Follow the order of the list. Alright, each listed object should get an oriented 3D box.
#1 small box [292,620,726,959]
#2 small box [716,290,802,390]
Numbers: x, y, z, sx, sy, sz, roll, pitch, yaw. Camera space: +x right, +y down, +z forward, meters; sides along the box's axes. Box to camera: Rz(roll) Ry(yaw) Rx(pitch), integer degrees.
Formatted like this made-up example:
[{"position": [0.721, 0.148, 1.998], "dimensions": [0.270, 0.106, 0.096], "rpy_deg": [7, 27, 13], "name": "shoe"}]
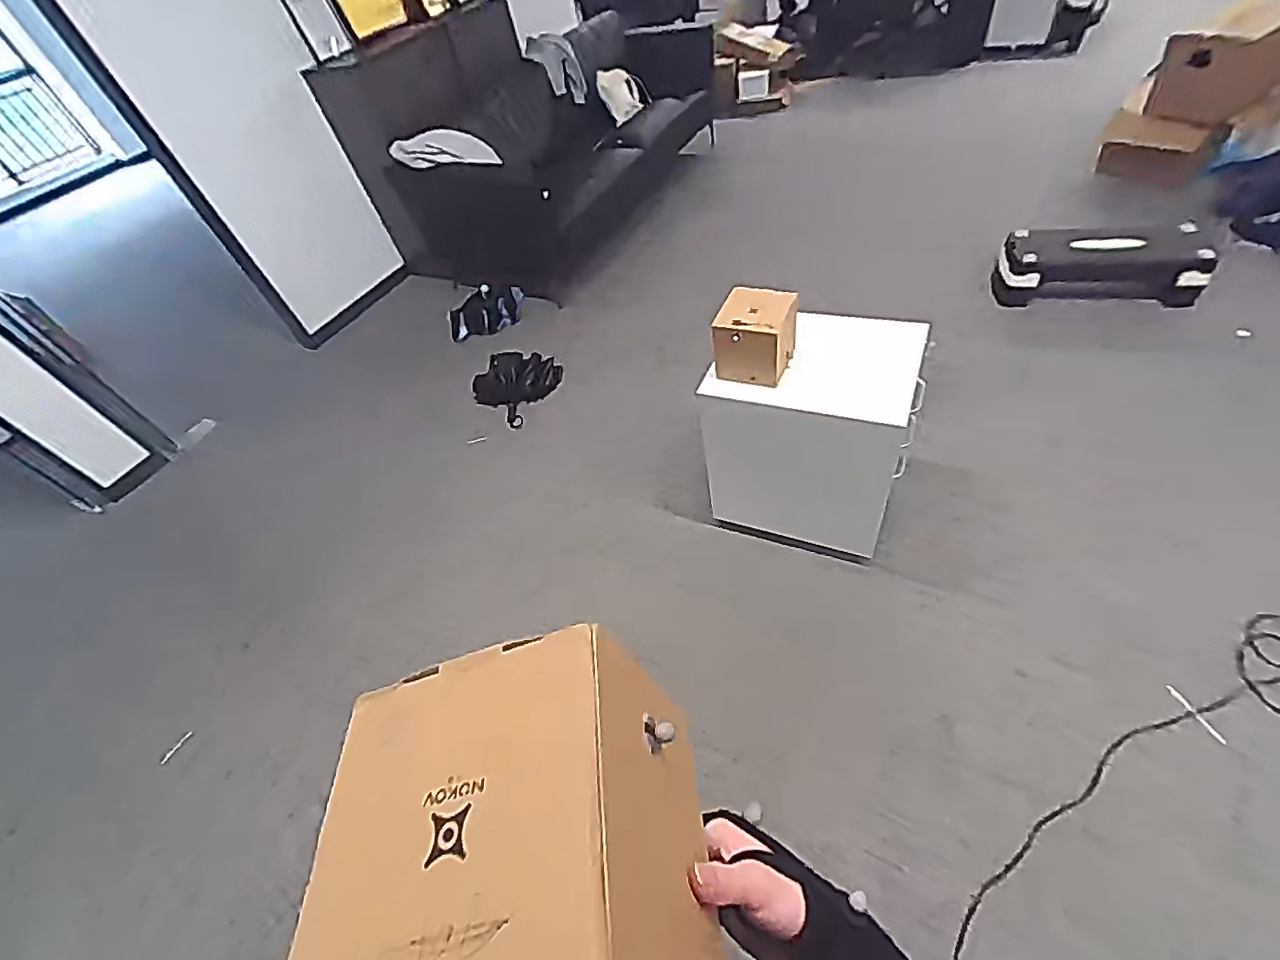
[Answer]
[{"position": [-0.060, 0.217, 0.322], "dimensions": [0.168, 0.176, 0.179], "rpy_deg": [-21, 45, 12], "name": "small box"}, {"position": [0.304, -0.359, 1.383], "dimensions": [0.168, 0.176, 0.179], "rpy_deg": [15, 54, 24], "name": "small box"}]
